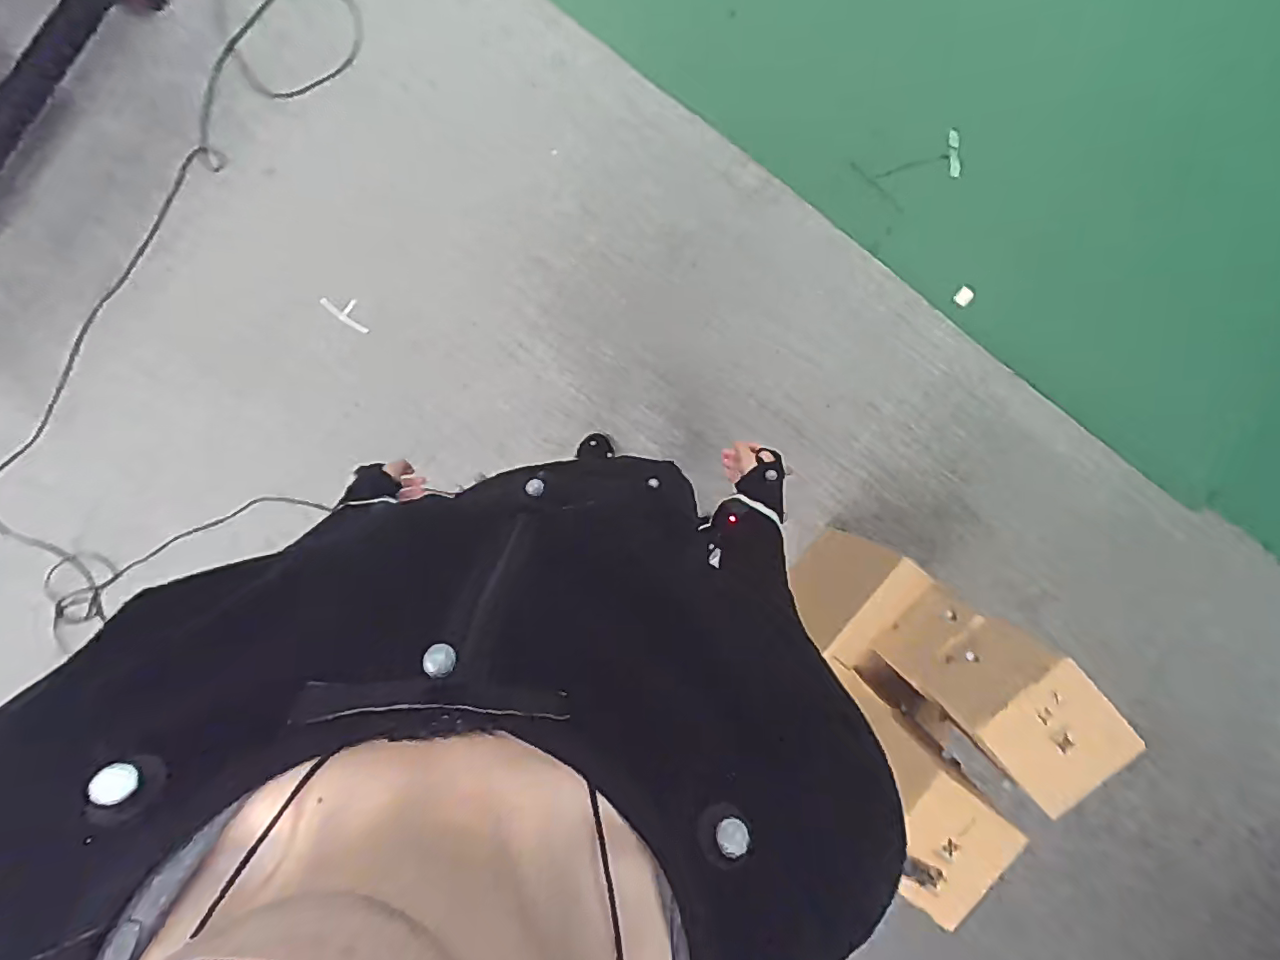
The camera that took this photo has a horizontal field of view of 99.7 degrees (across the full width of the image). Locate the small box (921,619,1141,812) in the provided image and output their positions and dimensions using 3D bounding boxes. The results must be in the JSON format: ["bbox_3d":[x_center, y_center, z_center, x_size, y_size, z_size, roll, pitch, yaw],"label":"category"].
[{"bbox_3d":[0.581,0.345,0.828,0.168,0.176,0.179,-41,93,4],"label":"small box"}]
